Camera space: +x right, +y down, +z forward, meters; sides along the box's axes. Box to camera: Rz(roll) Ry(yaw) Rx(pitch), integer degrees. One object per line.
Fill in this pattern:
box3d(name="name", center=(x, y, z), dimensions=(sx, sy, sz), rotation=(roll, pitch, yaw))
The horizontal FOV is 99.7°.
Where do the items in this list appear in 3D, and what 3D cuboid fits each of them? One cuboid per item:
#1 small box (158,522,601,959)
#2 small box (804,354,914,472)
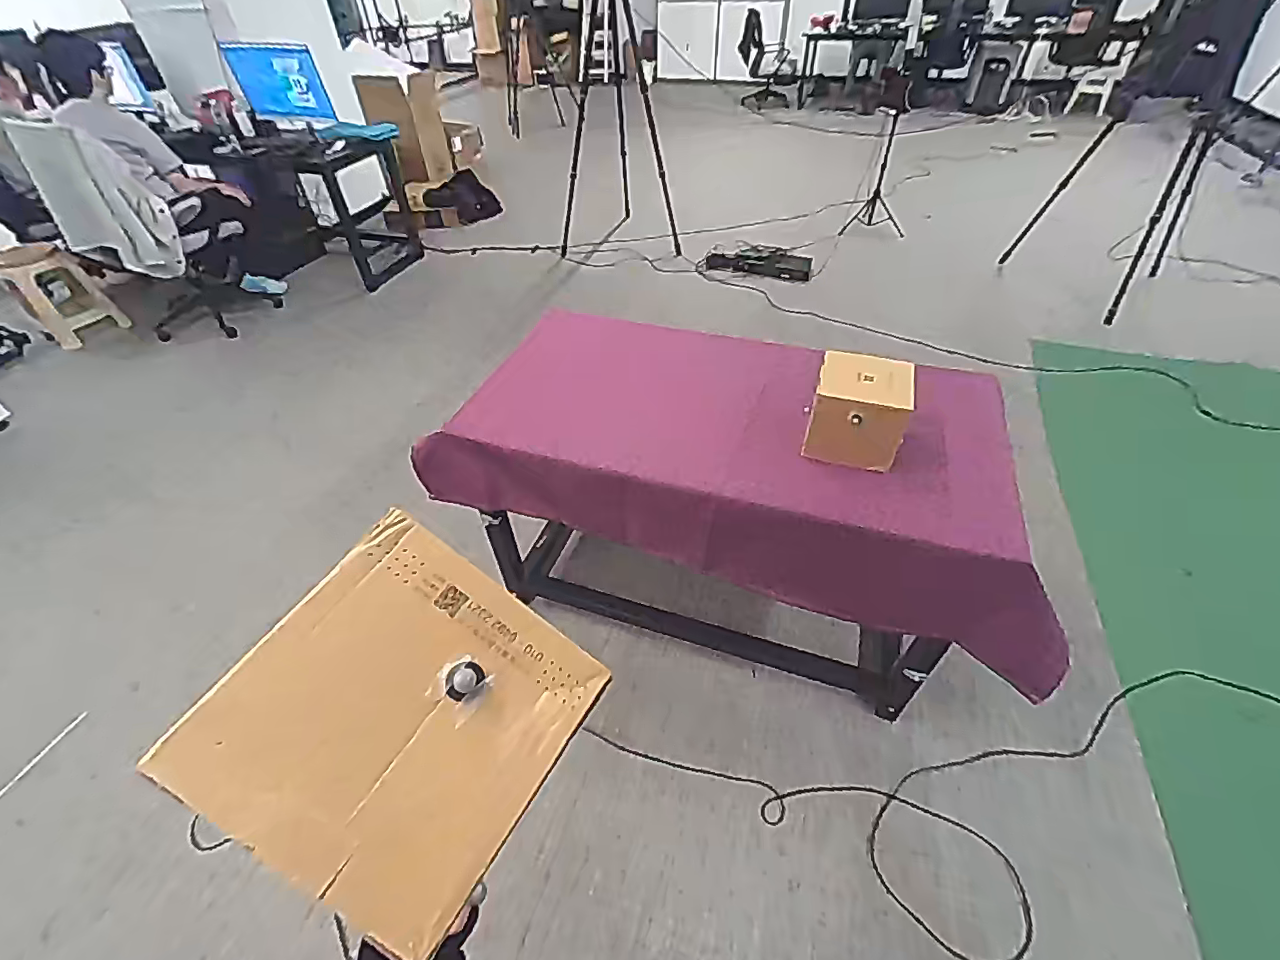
box3d(name="small box", center=(-0.149, 0.156, 0.370), dimensions=(0.168, 0.179, 0.176), rotation=(39, 62, -2))
box3d(name="small box", center=(0.448, -0.137, 1.117), dimensions=(0.179, 0.176, 0.168), rotation=(13, 47, 15))
